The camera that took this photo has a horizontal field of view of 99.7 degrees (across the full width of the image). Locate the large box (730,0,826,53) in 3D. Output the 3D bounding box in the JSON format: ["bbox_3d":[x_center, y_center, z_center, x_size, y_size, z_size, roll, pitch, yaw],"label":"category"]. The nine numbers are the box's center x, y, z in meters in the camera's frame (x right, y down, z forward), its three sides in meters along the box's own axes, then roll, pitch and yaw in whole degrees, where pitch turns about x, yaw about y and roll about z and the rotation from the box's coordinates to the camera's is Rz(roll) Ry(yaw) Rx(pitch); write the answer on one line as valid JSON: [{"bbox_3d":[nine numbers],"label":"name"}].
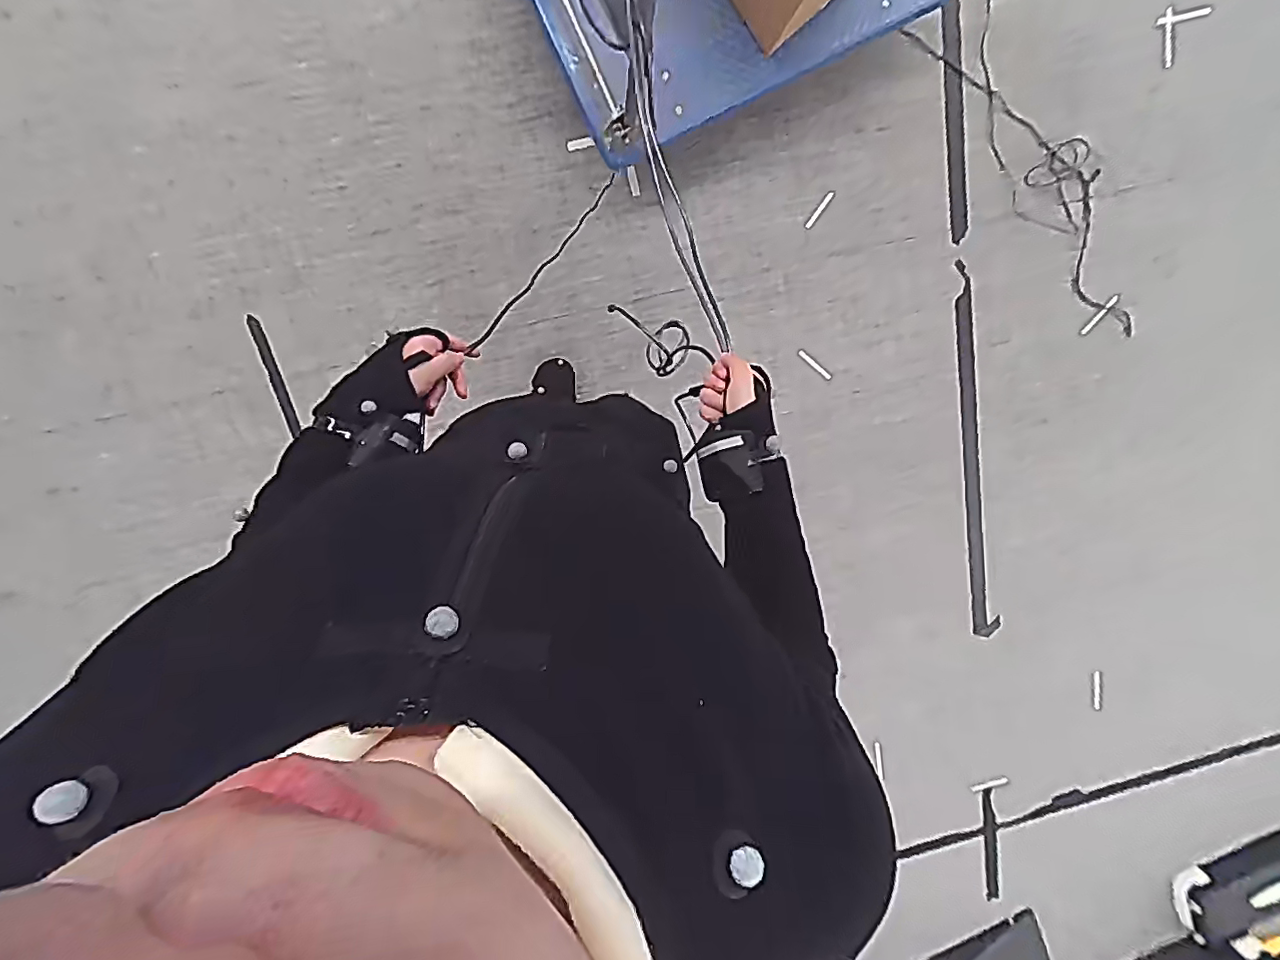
[{"bbox_3d":[0.270,-1.116,0.959,0.320,0.320,0.408,-41,105,5],"label":"large box"}]
